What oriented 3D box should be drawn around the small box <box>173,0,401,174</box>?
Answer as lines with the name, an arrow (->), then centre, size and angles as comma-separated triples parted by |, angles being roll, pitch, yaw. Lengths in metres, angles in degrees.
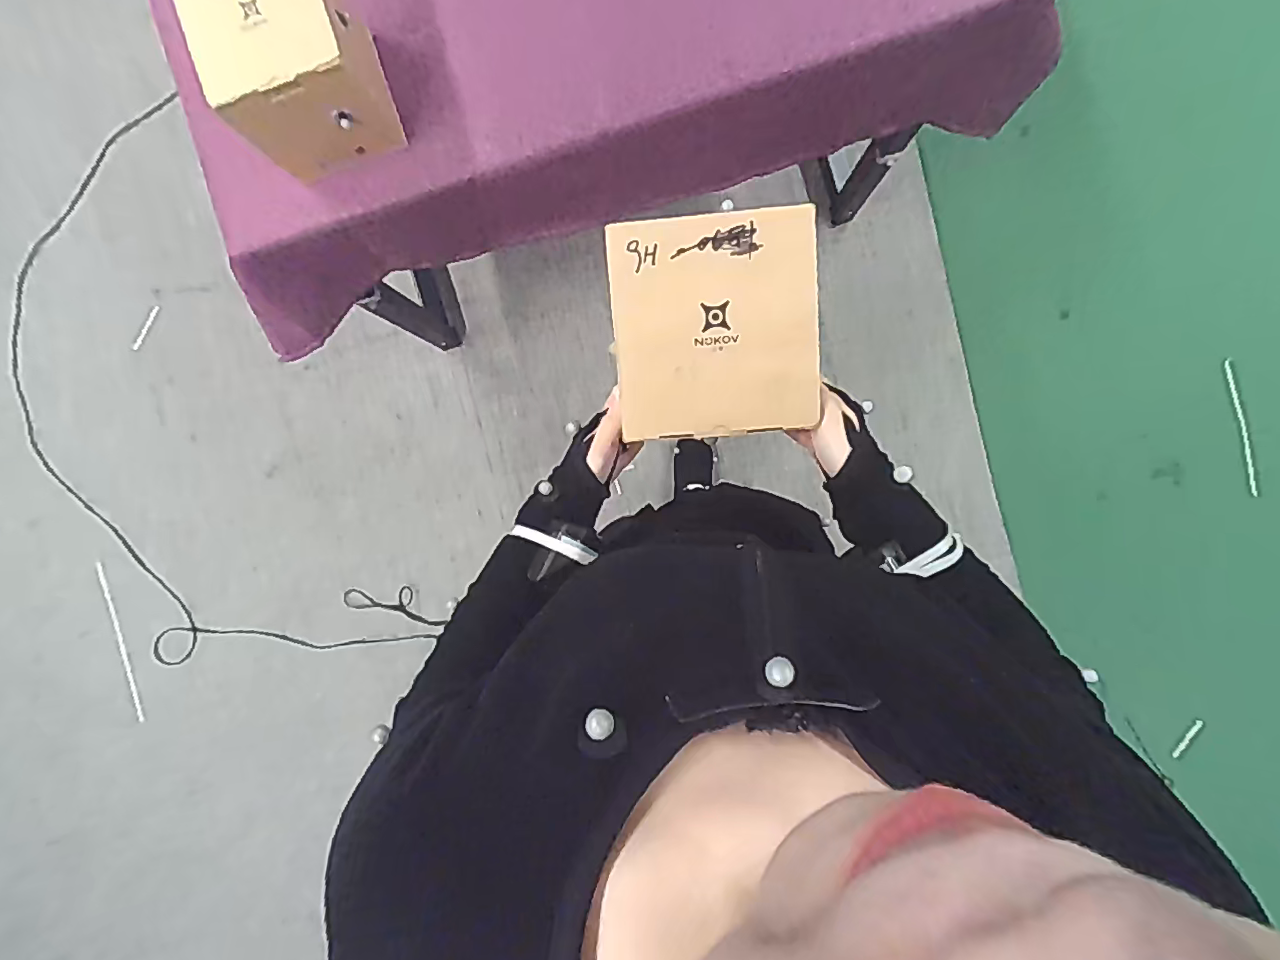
small box -> -0.439, -0.530, 0.696 | 0.168, 0.176, 0.179 | -18, 90, 1

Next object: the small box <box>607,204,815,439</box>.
small box -> 0.064, -0.141, 0.517 | 0.168, 0.176, 0.179 | -4, 101, 3
